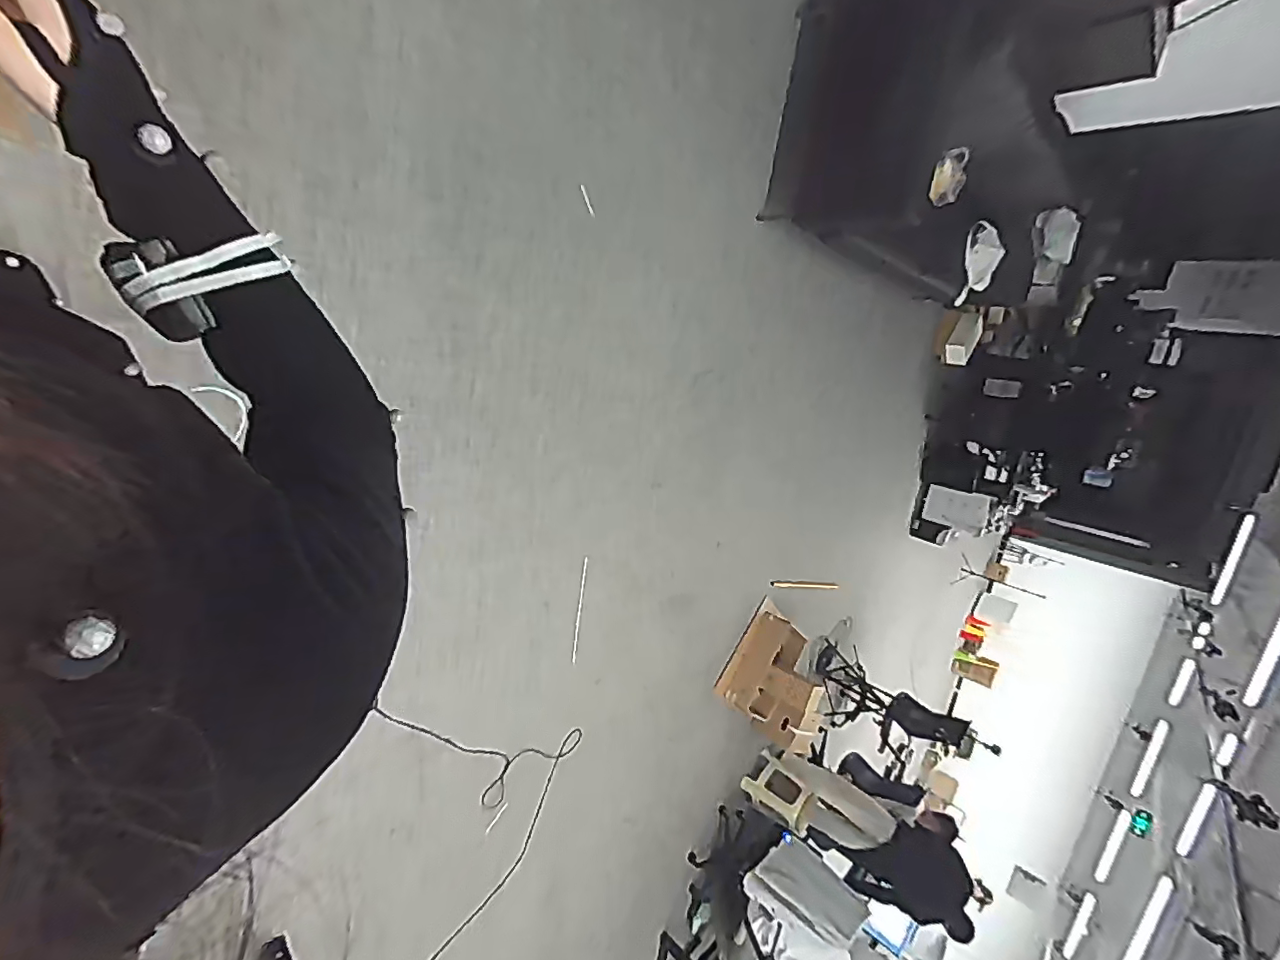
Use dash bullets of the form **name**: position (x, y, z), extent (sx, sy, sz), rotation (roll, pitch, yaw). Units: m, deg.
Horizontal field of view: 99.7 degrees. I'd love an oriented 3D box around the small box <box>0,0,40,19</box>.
- **small box**: position (-0.453, -0.388, 0.285), extent (0.168, 0.176, 0.179), rotation (-4, 119, -43)
